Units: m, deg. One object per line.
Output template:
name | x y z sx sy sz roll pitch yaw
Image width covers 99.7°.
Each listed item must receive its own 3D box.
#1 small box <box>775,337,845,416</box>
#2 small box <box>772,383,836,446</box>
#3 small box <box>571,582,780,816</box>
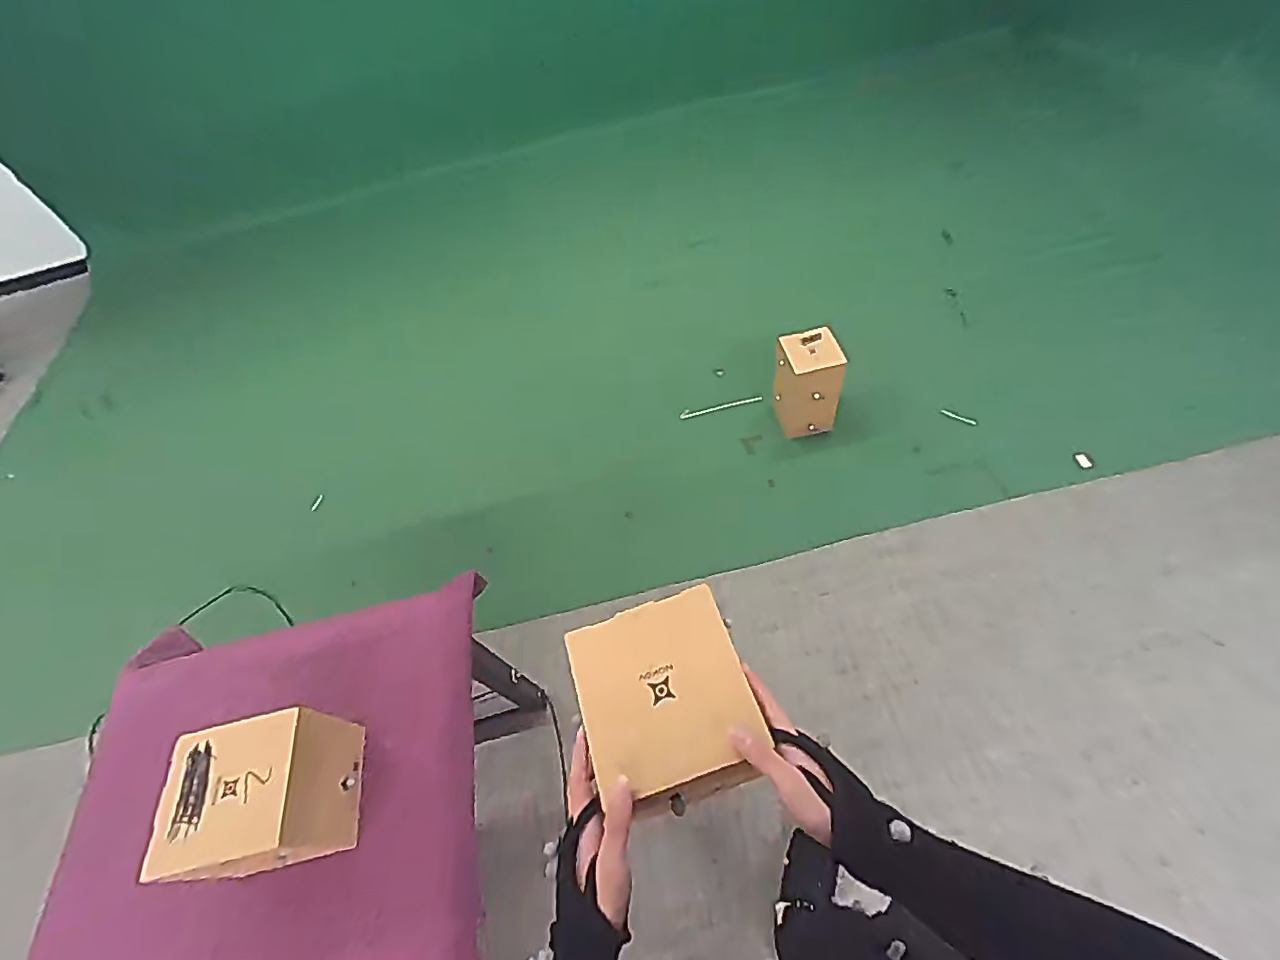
small box | 0.554 -0.341 1.787 0.168 0.176 0.179 -13 55 1
small box | 0.575 -0.247 1.921 0.168 0.176 0.179 -12 55 1
small box | 0.040 0.246 0.590 0.168 0.176 0.179 -19 52 -3
